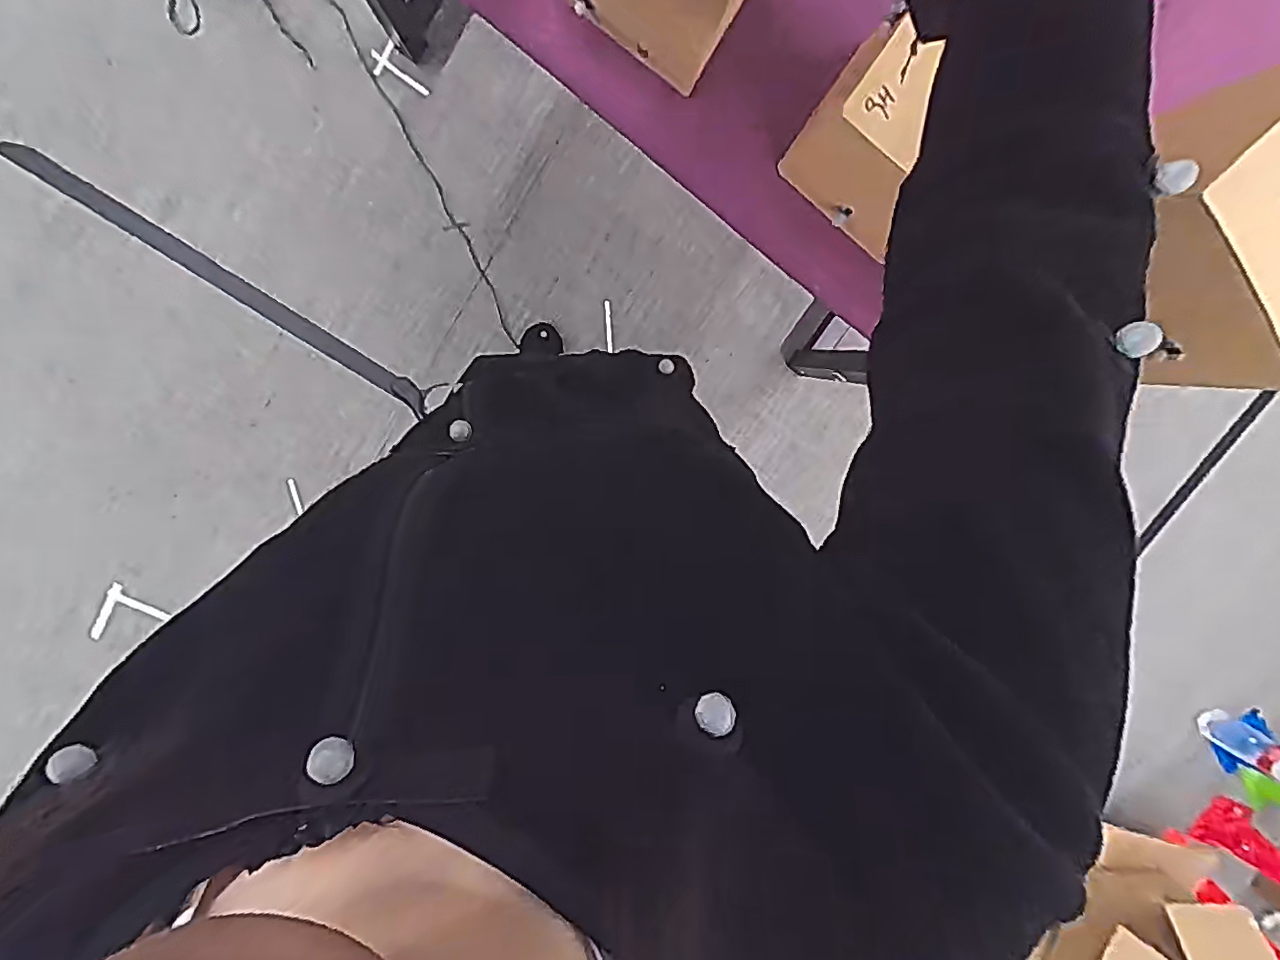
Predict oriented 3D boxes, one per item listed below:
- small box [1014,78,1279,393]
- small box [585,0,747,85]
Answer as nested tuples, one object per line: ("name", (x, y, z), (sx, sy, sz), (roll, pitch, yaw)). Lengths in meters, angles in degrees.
("small box", (0.469, -0.194, 0.444), (0.168, 0.176, 0.179), (-43, 103, 3))
("small box", (0.042, -0.513, 0.485), (0.168, 0.176, 0.179), (31, 99, -13))
